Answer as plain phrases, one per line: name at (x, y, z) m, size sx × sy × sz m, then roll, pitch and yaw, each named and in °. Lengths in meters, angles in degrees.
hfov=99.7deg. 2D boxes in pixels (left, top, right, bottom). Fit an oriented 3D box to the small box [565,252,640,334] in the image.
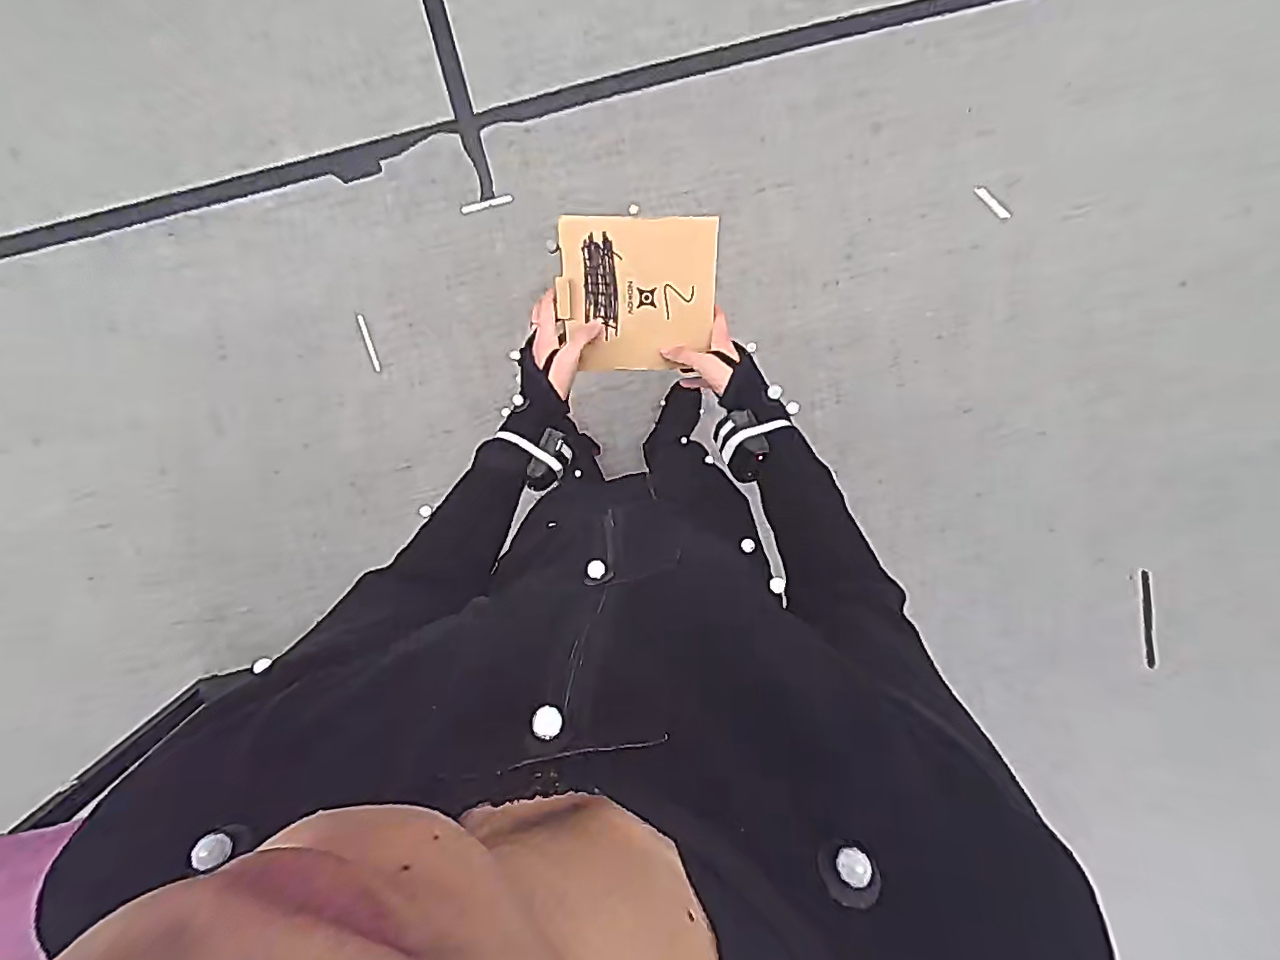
small box at (-0.099, -0.487, 1.433) m, size 0.168 × 0.176 × 0.179 m, roll -11°, pitch 102°, yaw -3°
